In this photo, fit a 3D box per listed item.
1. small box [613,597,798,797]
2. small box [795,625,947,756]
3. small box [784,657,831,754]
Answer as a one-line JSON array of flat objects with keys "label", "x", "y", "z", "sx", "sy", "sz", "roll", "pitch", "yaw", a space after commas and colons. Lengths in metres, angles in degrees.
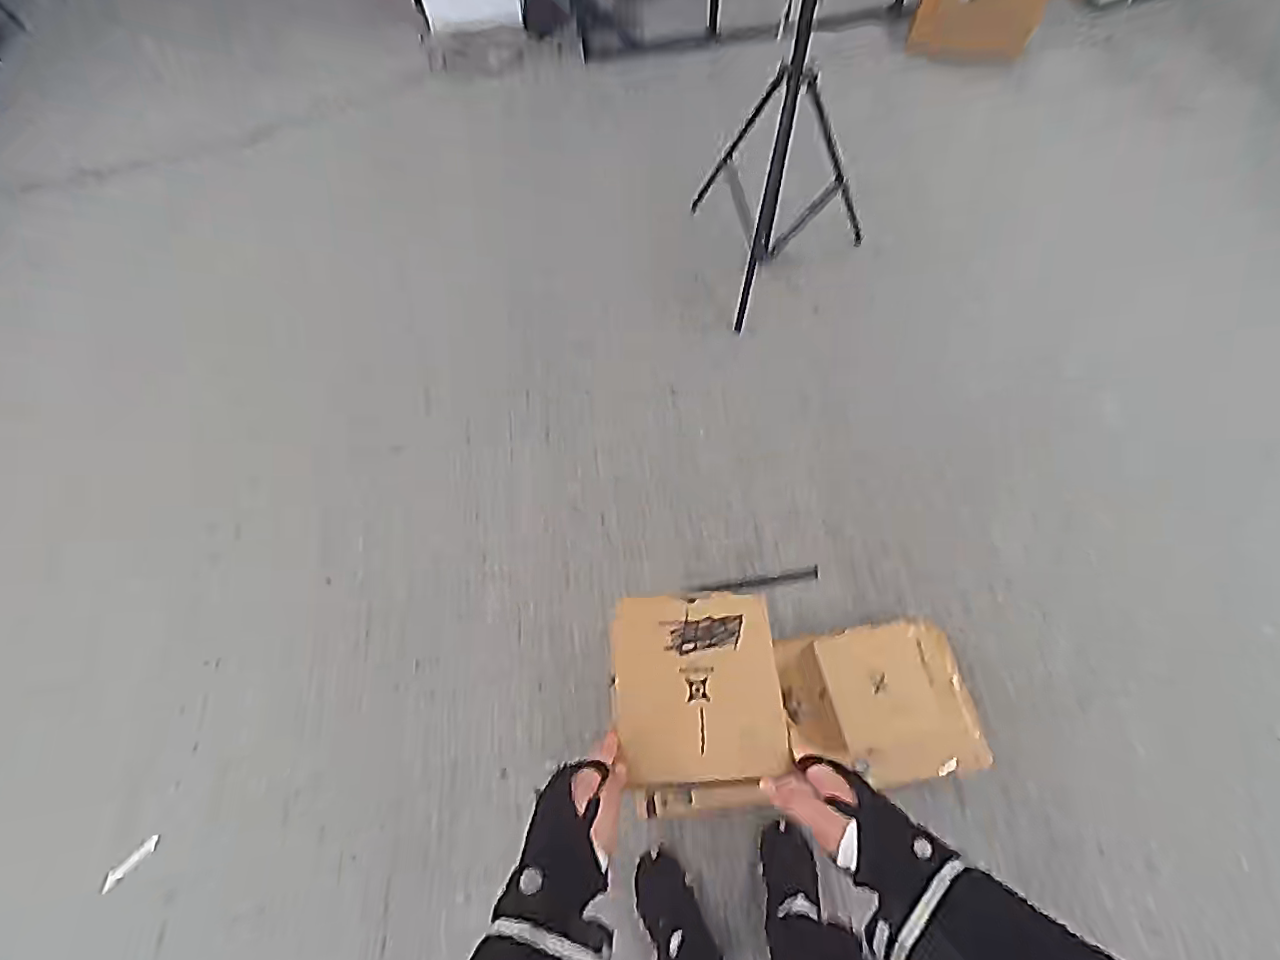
[{"label": "small box", "x": 0.055, "y": 0.242, "z": 0.598, "sx": 0.168, "sy": 0.176, "sz": 0.179, "roll": -1, "pitch": 58, "yaw": -4}, {"label": "small box", "x": 0.389, "y": 0.373, "z": 0.951, "sx": 0.168, "sy": 0.176, "sz": 0.179, "roll": -13, "pitch": 64, "yaw": -2}, {"label": "small box", "x": 0.407, "y": 0.443, "z": 1.096, "sx": 0.168, "sy": 0.176, "sz": 0.179, "roll": -9, "pitch": 65, "yaw": -3}]
